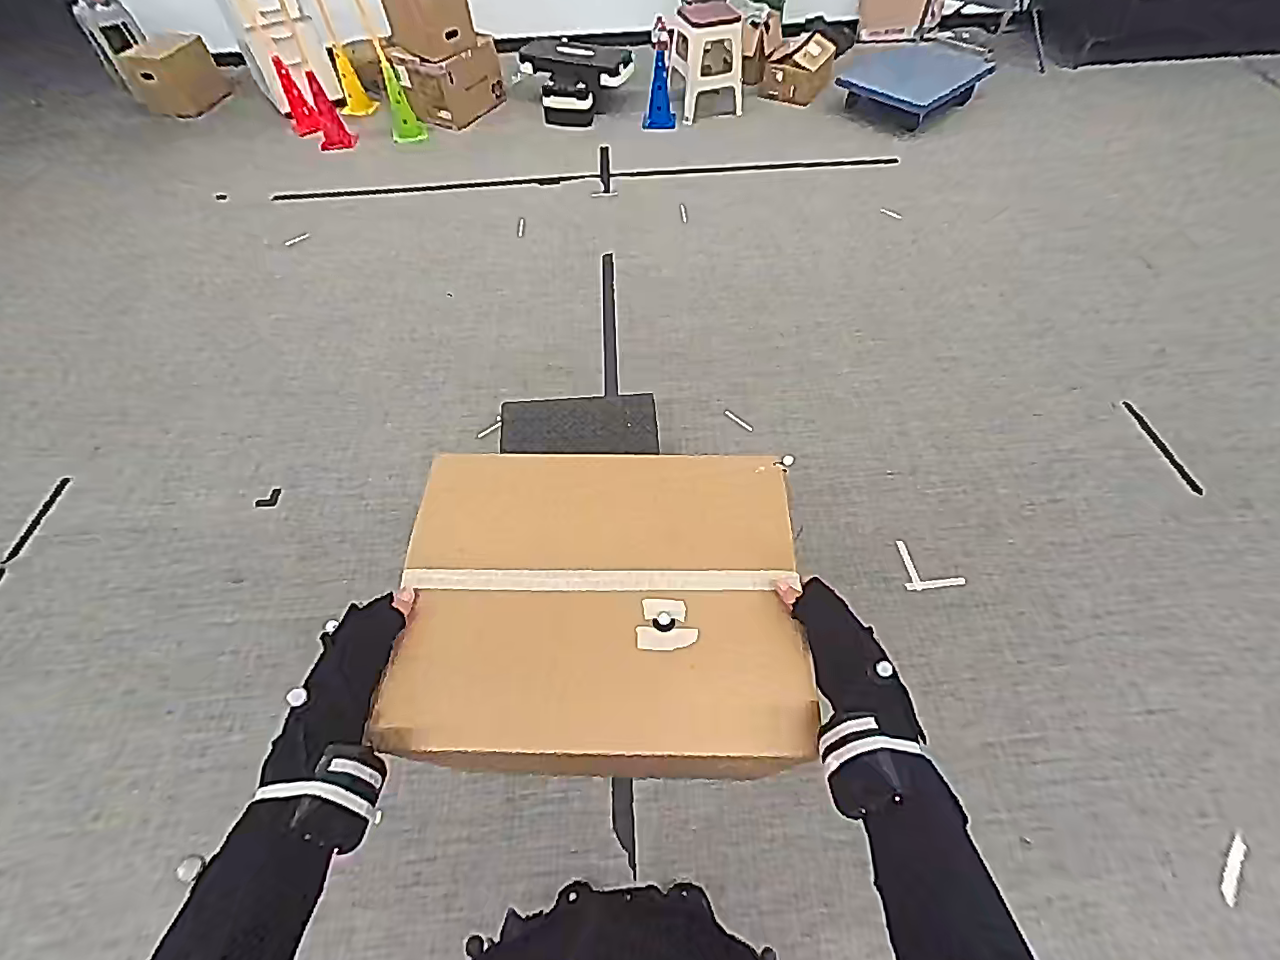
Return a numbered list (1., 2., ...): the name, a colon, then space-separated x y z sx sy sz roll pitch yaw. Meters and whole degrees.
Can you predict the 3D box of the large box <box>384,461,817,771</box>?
1. large box: -0.037 0.187 0.692 0.408 0.320 0.320 1 59 1
